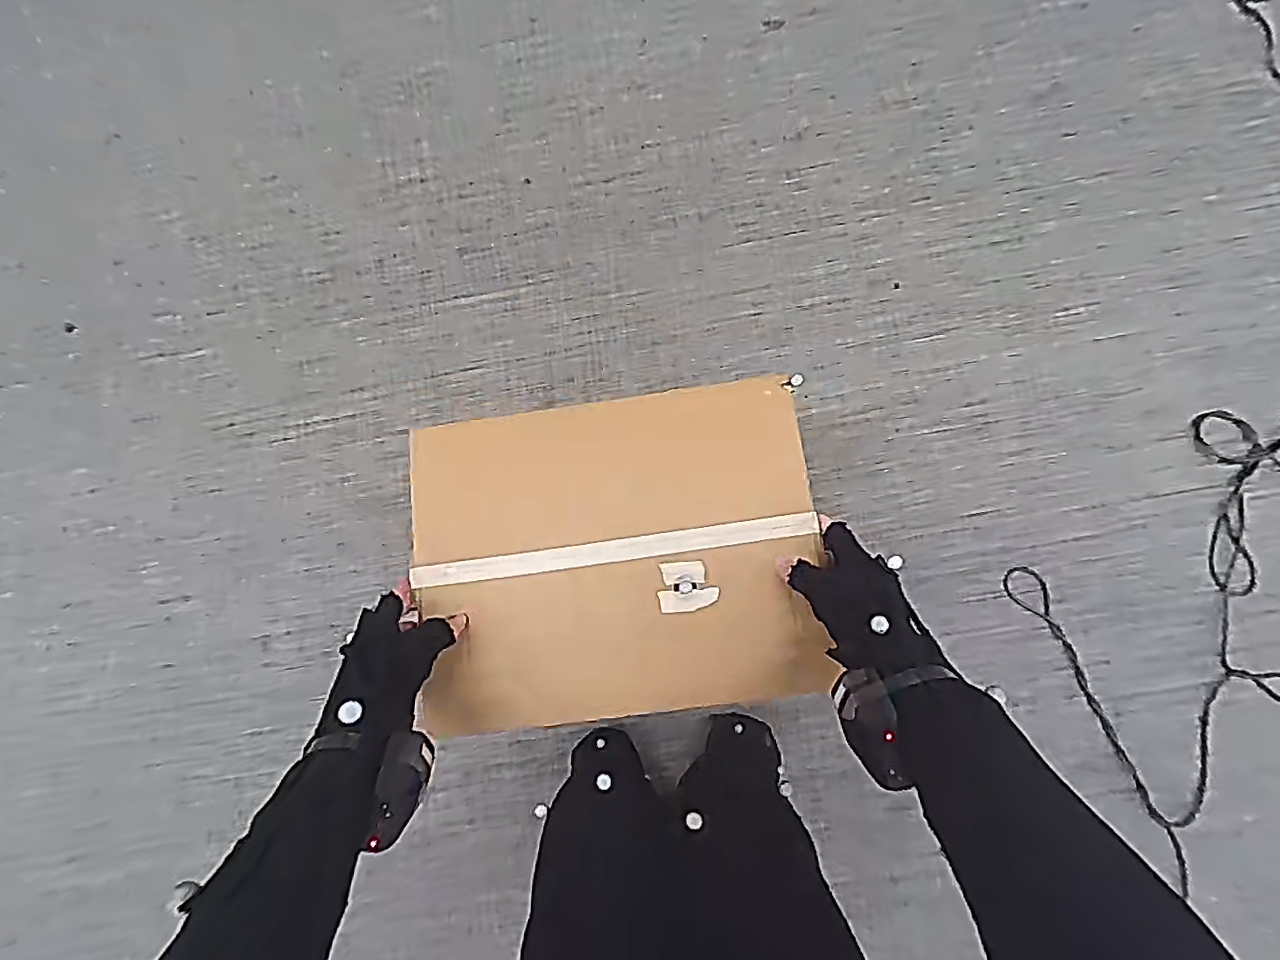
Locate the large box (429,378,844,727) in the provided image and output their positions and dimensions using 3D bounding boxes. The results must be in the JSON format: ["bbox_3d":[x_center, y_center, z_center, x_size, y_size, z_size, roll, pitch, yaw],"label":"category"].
[{"bbox_3d":[-0.009,0.097,0.705,0.408,0.320,0.320,-8,80,2],"label":"large box"}]
